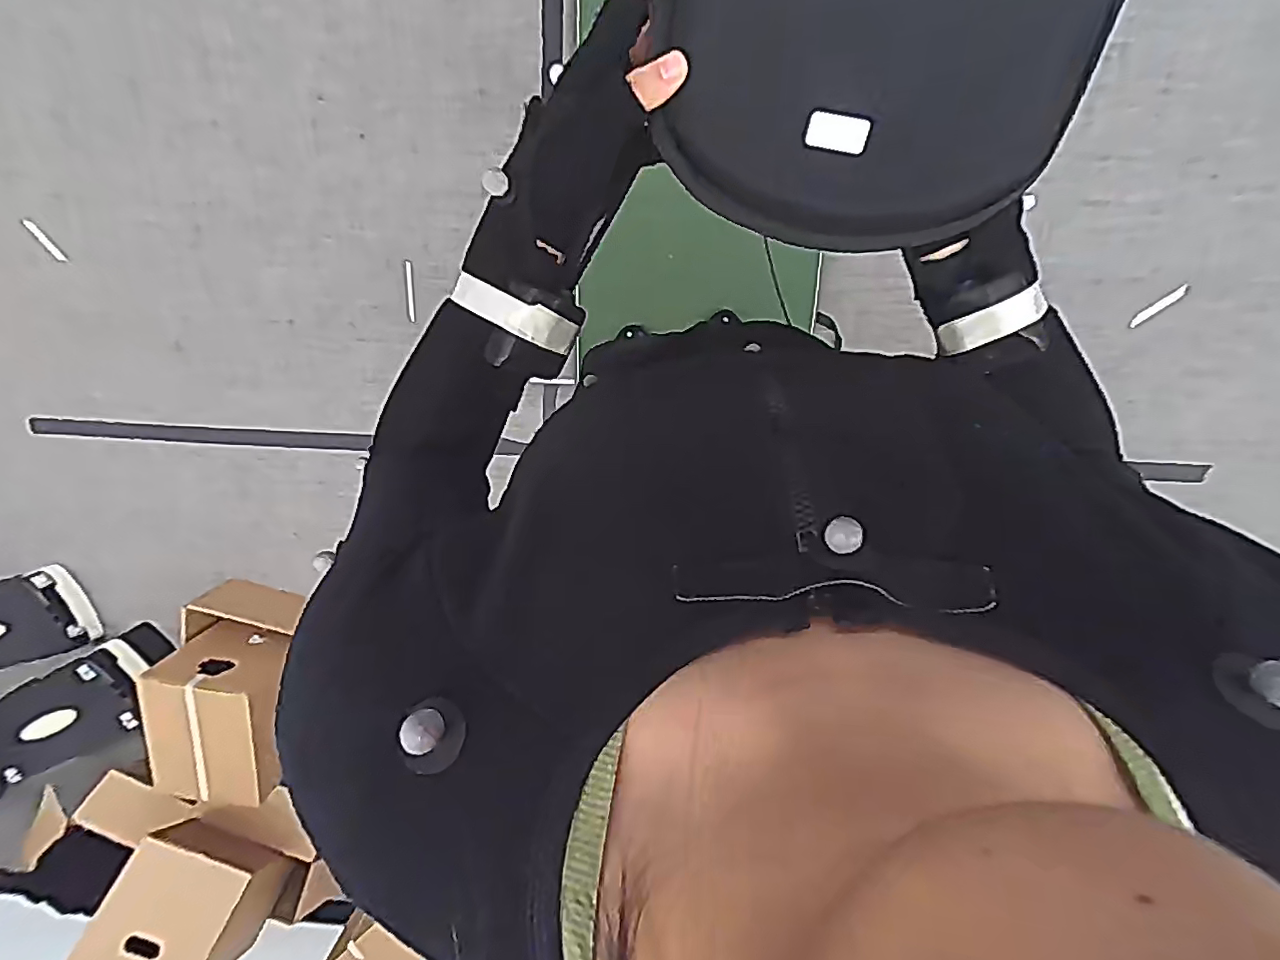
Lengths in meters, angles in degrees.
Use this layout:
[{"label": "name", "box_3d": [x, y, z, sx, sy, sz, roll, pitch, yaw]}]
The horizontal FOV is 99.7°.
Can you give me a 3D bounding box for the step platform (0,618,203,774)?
[{"label": "step platform", "box_3d": [-1.867, 0.731, 1.824, 0.684, 0.204, 0.286, -25, 104, 11]}]
